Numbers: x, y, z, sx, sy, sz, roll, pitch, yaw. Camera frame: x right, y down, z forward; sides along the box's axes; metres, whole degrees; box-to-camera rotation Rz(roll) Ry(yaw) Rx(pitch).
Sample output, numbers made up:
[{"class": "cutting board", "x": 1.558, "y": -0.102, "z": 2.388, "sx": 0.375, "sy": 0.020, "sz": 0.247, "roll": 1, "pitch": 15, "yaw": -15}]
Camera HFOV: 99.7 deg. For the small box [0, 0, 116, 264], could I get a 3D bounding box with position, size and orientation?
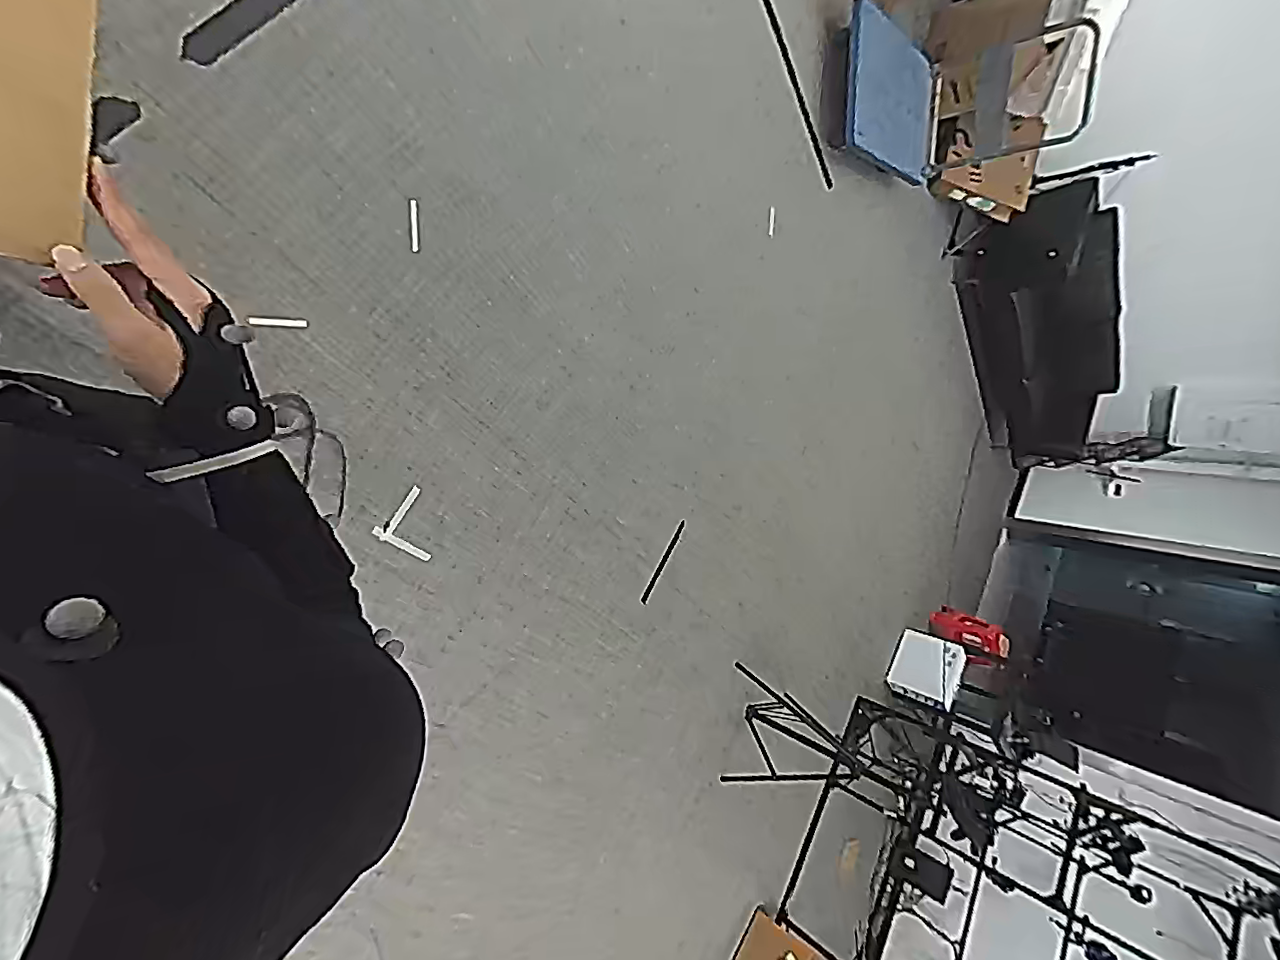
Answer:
[{"class": "small box", "x": -0.403, "y": -0.227, "z": 0.277, "sx": 0.179, "sy": 0.176, "sz": 0.168, "roll": 4, "pitch": 104, "yaw": -48}]
